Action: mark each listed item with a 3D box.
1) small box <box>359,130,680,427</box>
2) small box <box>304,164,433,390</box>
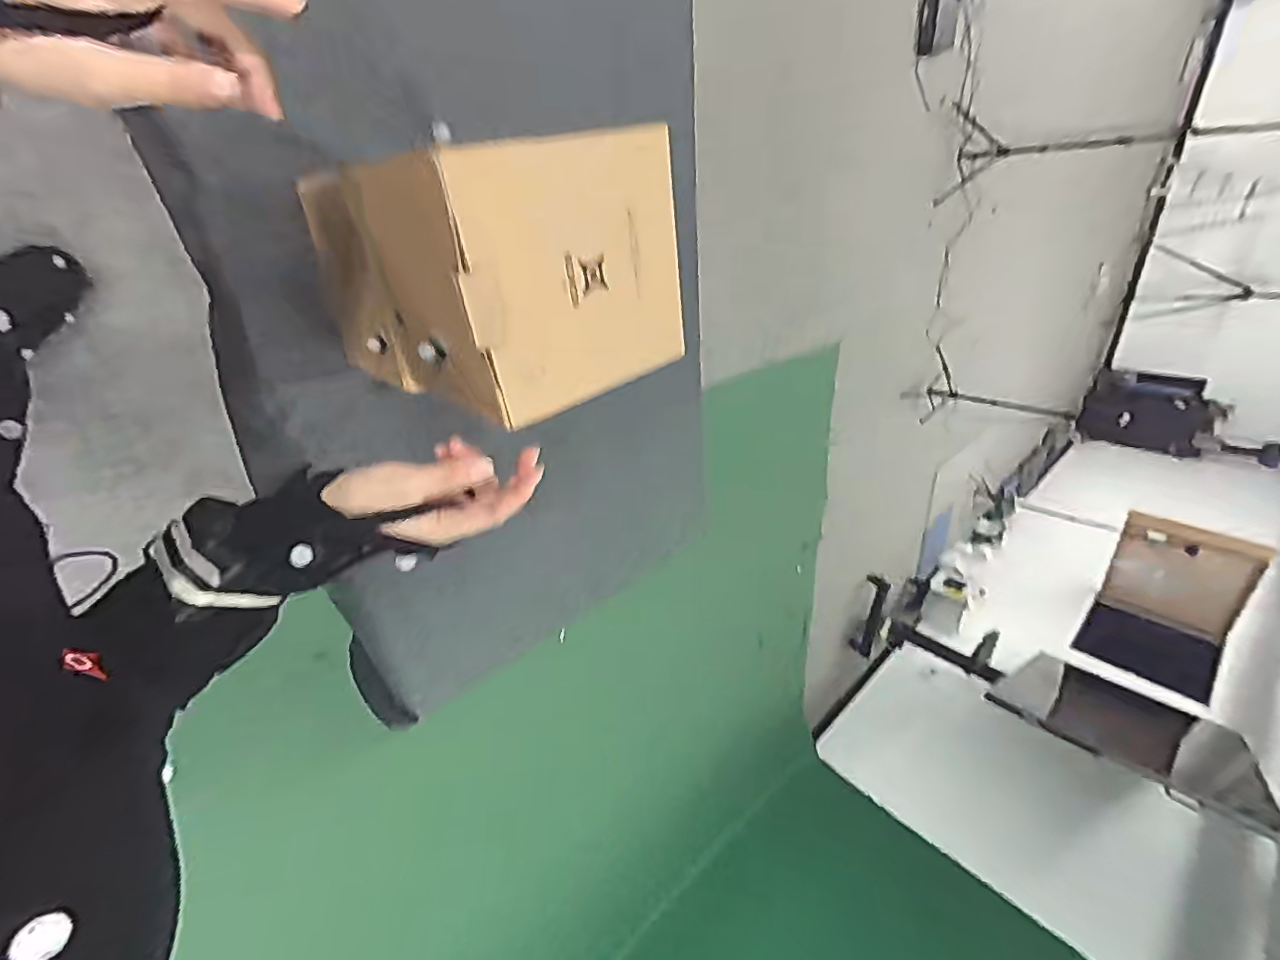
[{"bbox_3d":[-0.092,-0.164,0.423,0.179,0.176,0.168,-32,130,-33],"label":"small box"},{"bbox_3d":[-0.202,-0.205,0.535,0.168,0.176,0.179,-25,125,-36],"label":"small box"}]
